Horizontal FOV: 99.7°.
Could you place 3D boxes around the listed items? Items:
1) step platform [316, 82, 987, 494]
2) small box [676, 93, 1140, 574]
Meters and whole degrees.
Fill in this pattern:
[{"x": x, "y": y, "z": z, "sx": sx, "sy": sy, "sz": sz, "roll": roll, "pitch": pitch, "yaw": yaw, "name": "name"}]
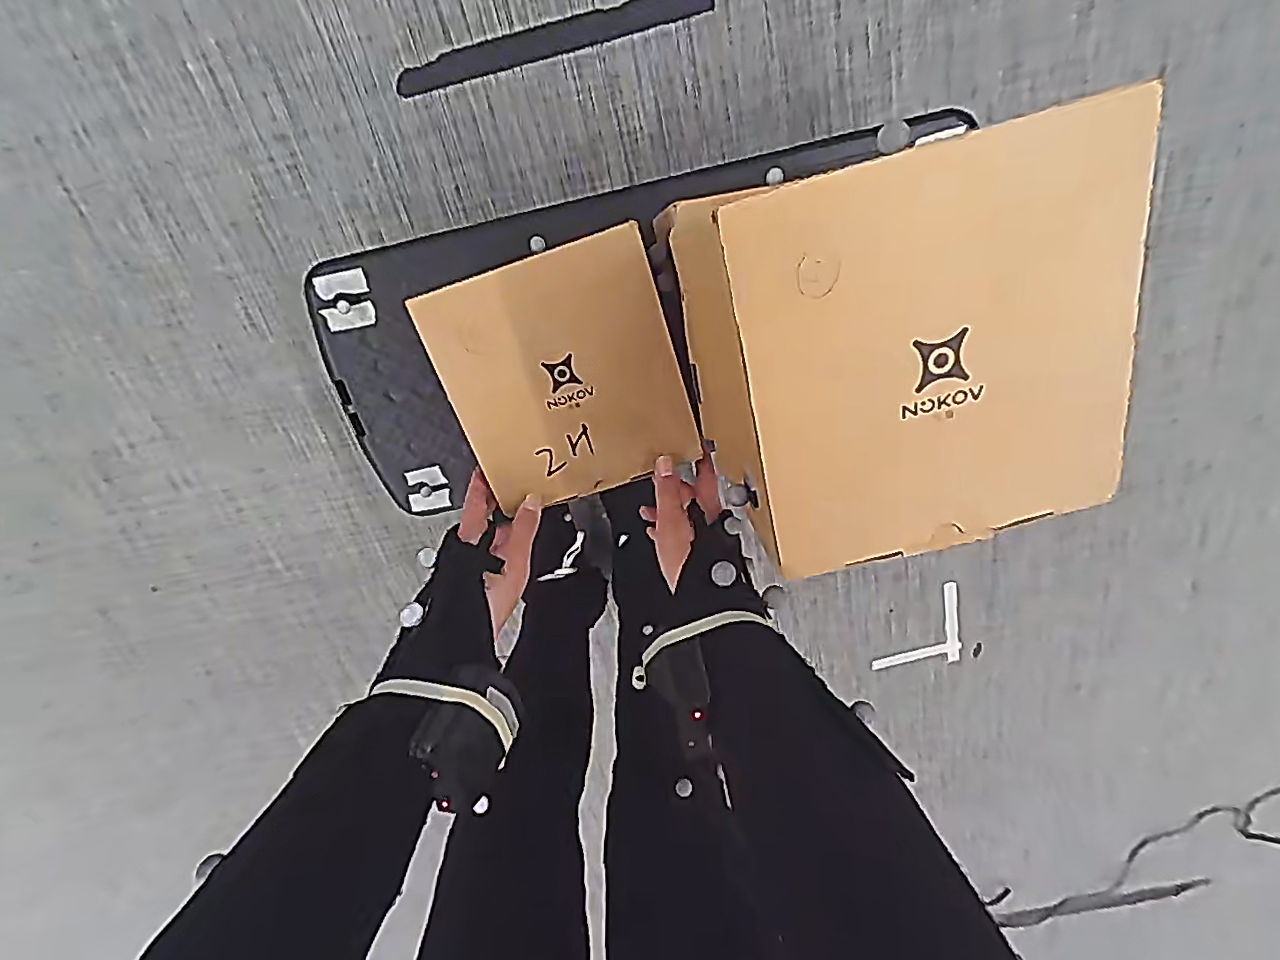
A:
[{"x": 0.022, "y": -0.200, "z": 0.619, "sx": 0.684, "sy": 0.204, "sz": 0.286, "roll": -13, "pitch": 112, "yaw": 3, "name": "step platform"}, {"x": 0.125, "y": -0.079, "z": 0.311, "sx": 0.168, "sy": 0.176, "sz": 0.179, "roll": -15, "pitch": 113, "yaw": 2, "name": "small box"}]
